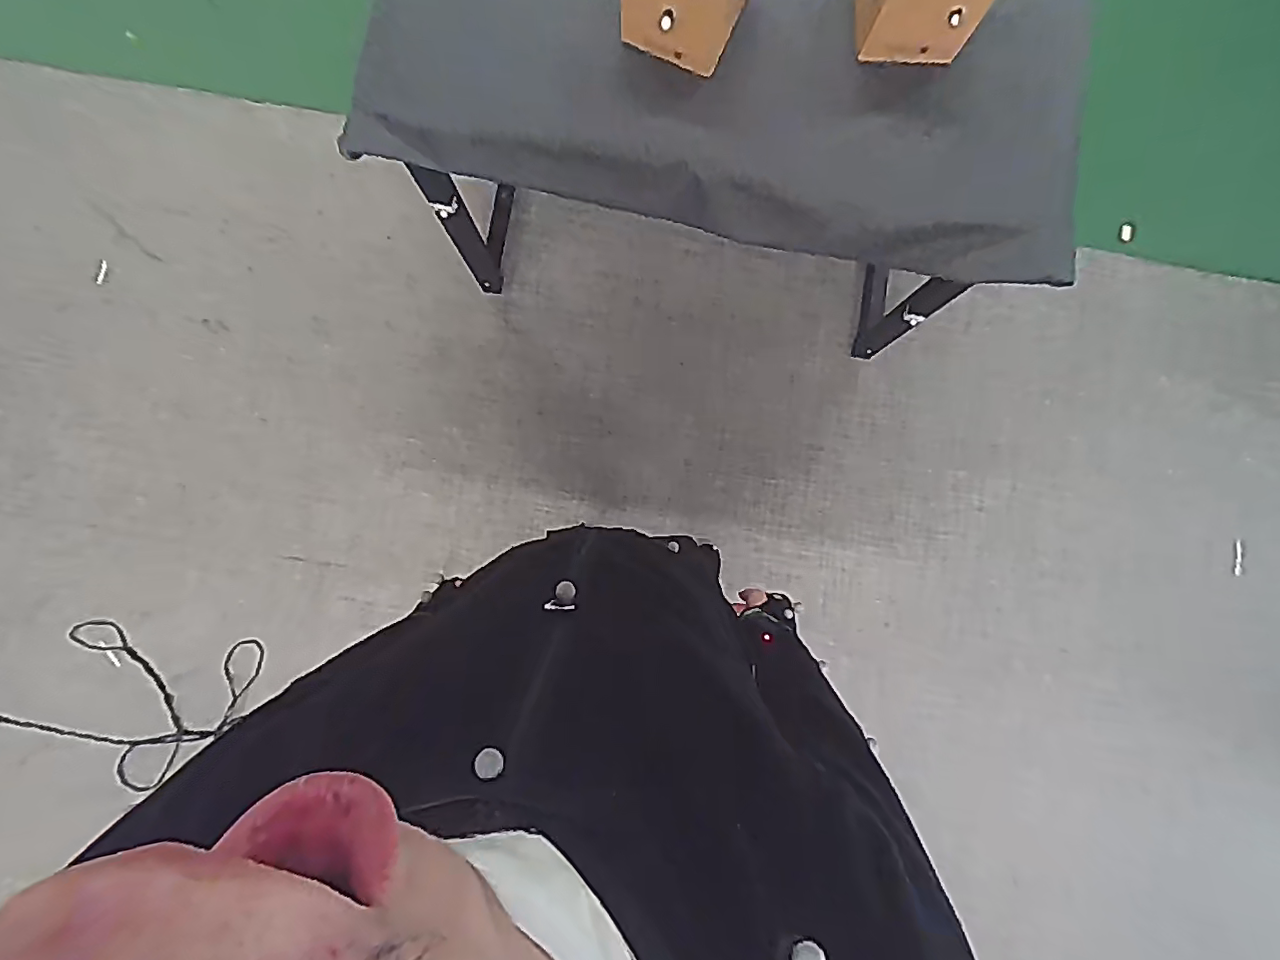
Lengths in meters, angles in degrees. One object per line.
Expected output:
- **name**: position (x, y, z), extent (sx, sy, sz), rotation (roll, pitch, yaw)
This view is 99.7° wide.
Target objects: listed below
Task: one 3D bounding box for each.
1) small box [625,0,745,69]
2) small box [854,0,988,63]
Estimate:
- **small box**: position (0.081, -0.794, 0.832), extent (0.168, 0.176, 0.179), rotation (24, 85, -1)
- **small box**: position (0.452, -0.803, 0.850), extent (0.168, 0.176, 0.179), rotation (1, 84, -3)
